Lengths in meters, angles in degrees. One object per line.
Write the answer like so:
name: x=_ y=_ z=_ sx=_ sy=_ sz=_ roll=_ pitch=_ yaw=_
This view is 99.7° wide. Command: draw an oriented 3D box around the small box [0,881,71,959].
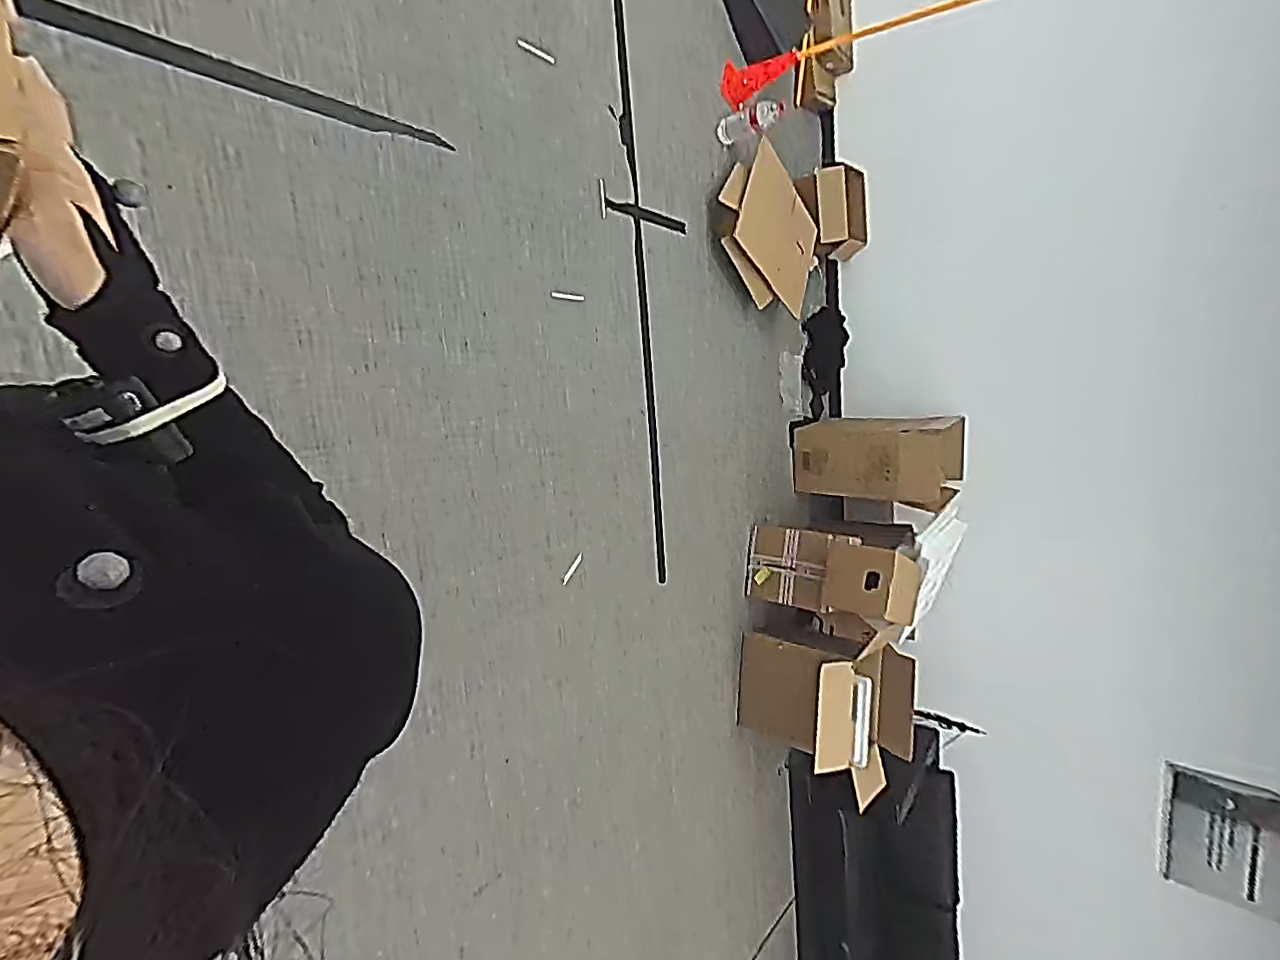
small box: x=-0.923 y=0.717 z=0.749 sx=0.179 sy=0.176 sz=0.168 roll=-13 pitch=101 yaw=-46

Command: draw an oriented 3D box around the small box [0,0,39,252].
small box: x=-0.379 y=-0.206 z=0.212 sx=0.168 sy=0.176 sz=0.179 roll=-11 pitch=92 yaw=-55
